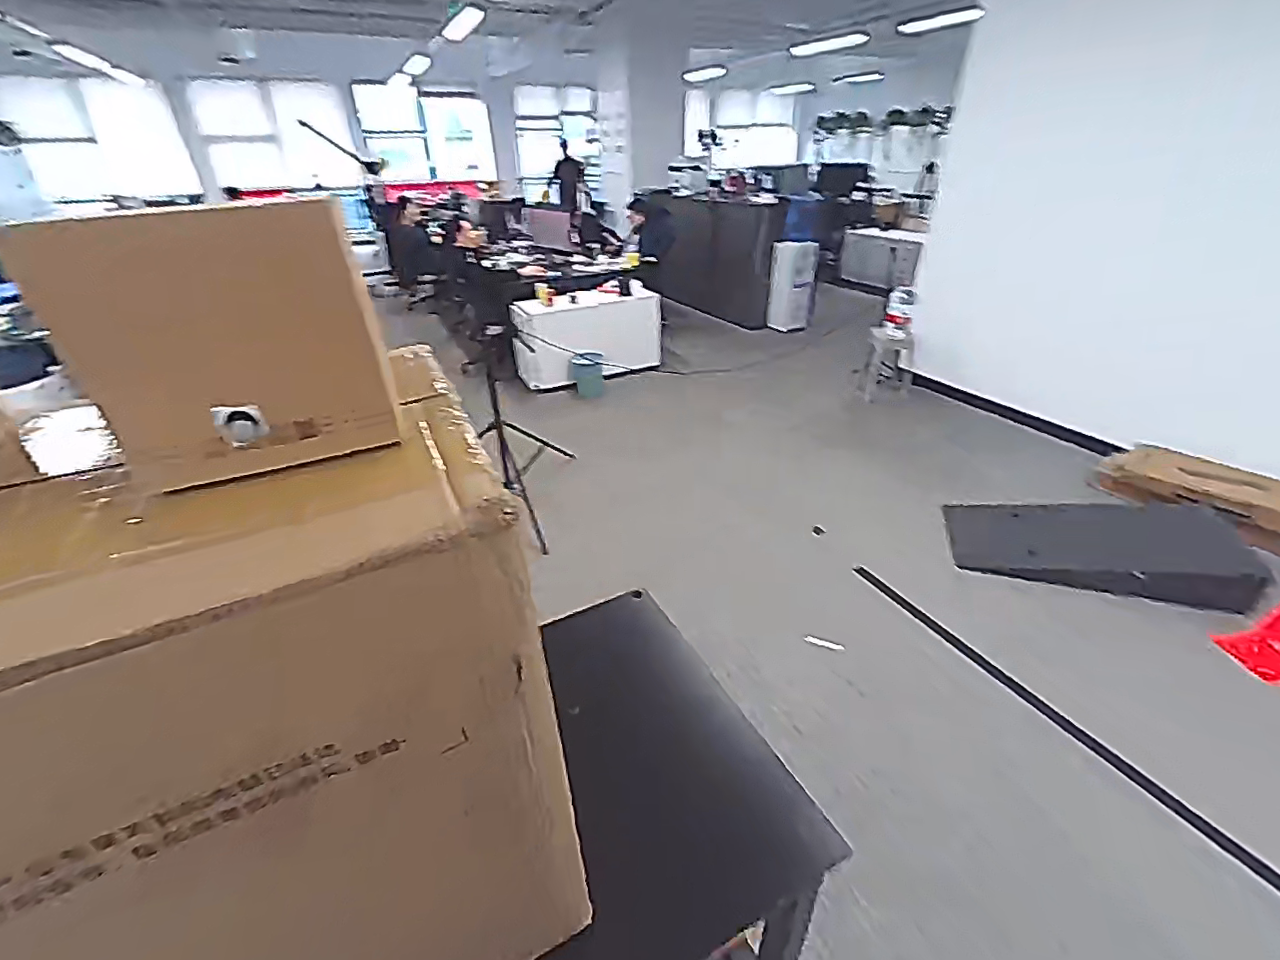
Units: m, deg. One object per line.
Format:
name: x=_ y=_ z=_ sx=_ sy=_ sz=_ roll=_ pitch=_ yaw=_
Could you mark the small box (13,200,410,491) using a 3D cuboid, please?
small box: x=-0.291 y=-0.115 z=0.419 sx=0.168 sy=0.176 sz=0.179 roll=-17 pitch=34 yaw=-20
